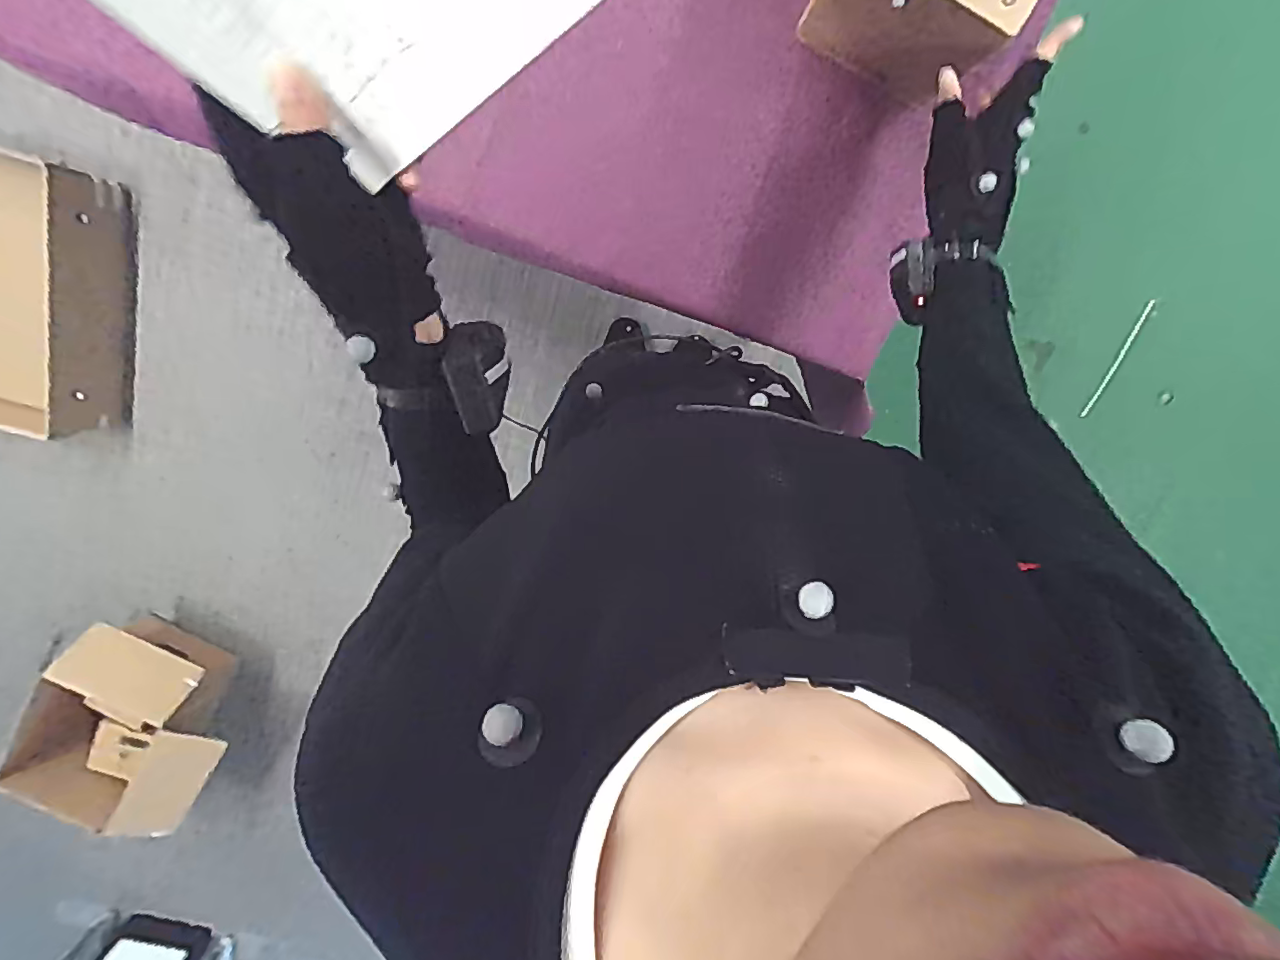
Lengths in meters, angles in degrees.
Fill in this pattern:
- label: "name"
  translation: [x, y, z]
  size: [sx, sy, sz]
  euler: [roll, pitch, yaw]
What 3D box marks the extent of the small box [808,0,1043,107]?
- label: "small box"
  translation: [0.282, -0.497, 0.496]
  size: [0.168, 0.176, 0.179]
  euler: [25, 105, -7]
